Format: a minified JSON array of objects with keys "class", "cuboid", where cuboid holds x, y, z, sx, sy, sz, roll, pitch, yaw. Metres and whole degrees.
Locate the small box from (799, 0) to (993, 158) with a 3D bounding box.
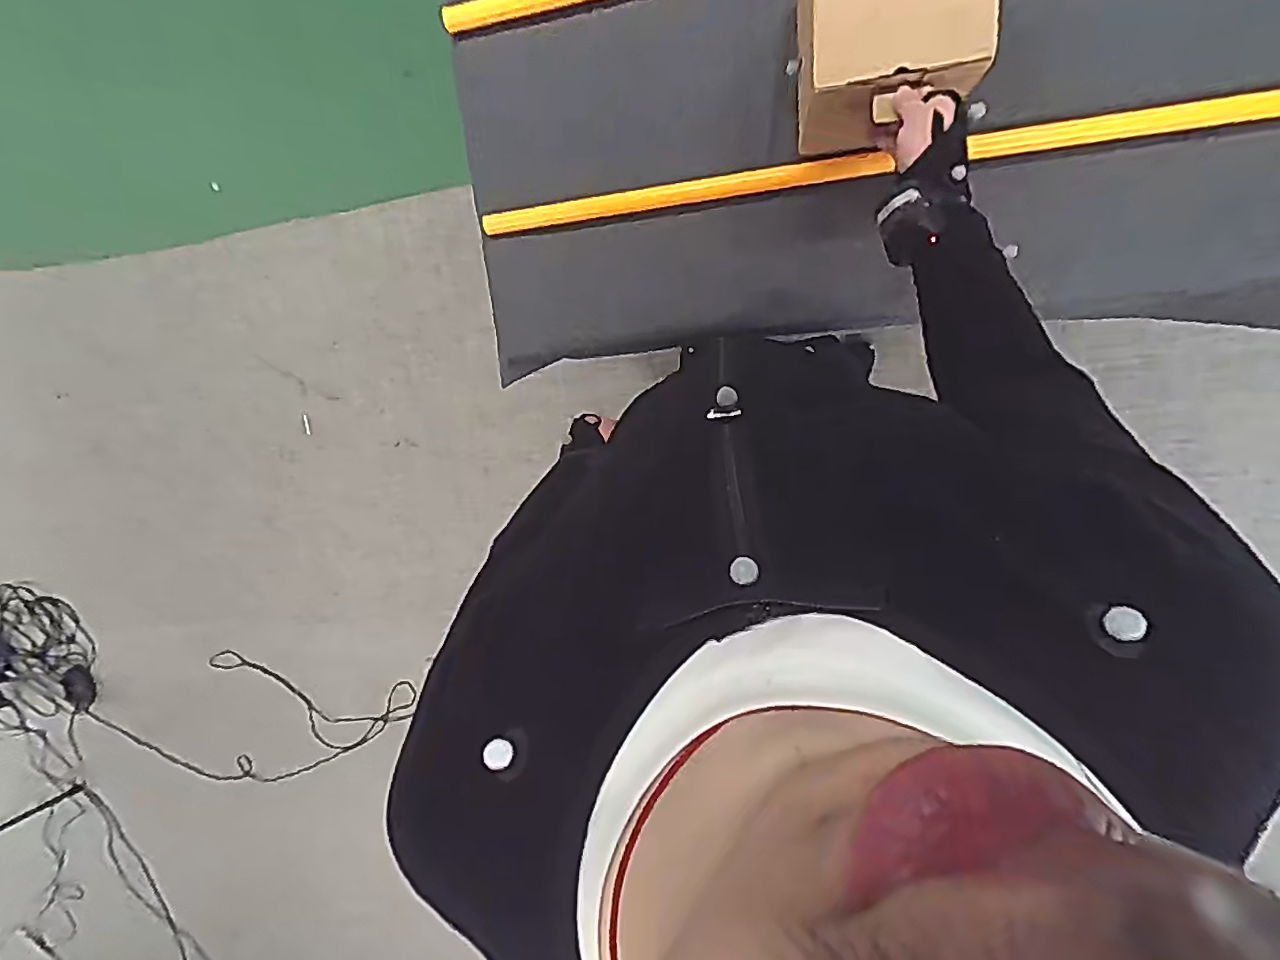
[{"class":"small box","cuboid":[0.268,-0.485,0.598,0.168,0.176,0.179,-4,97,14]}]
